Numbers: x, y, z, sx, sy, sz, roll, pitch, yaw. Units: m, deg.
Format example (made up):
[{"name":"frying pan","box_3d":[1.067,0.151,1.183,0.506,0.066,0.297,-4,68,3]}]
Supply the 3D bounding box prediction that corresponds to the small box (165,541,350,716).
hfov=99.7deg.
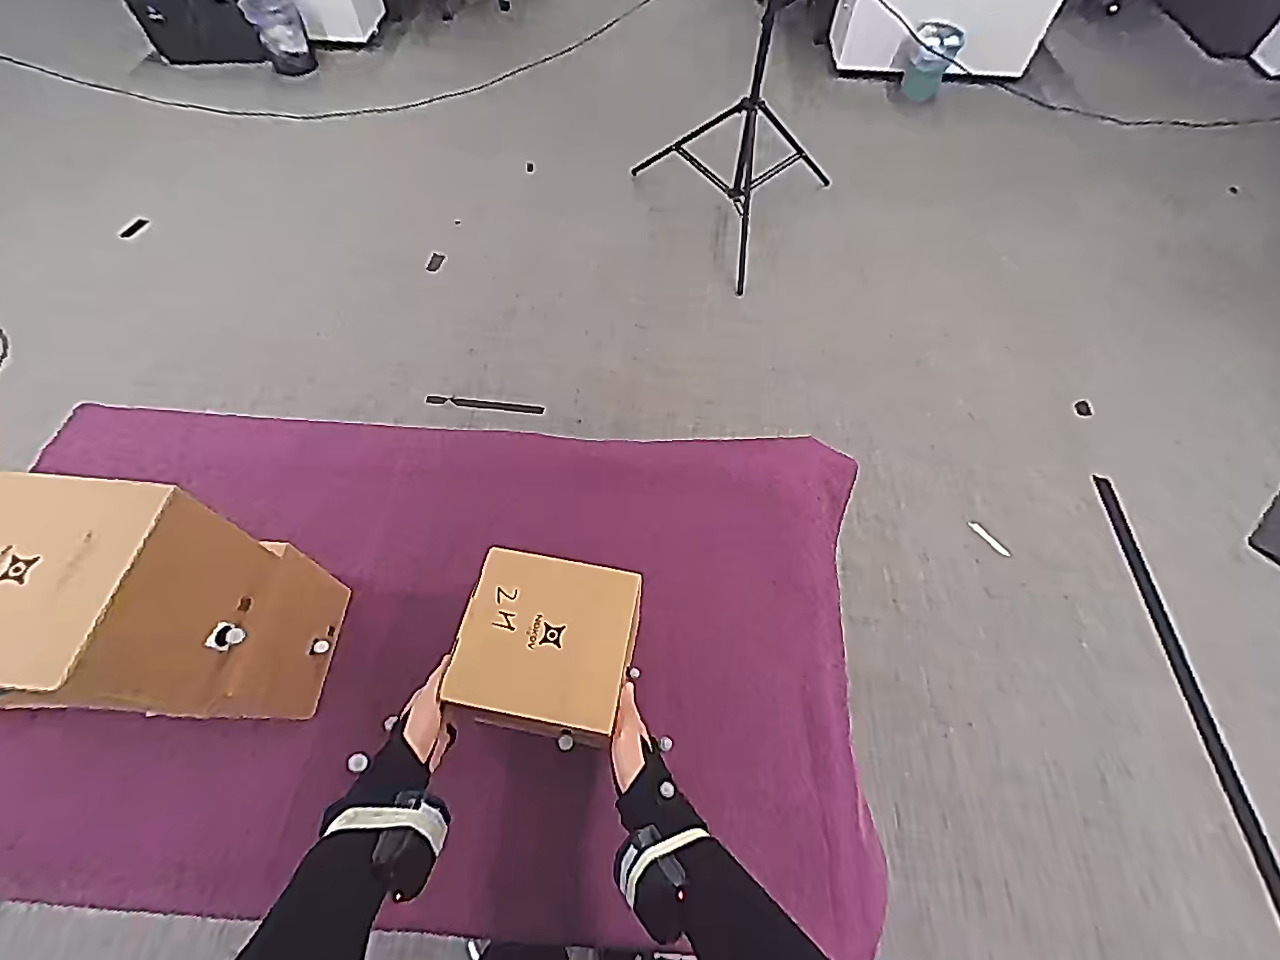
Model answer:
[{"name":"small box","box_3d":[-0.482,0.177,0.634,0.179,0.176,0.168,2,60,-1]}]

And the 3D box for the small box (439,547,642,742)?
[{"name":"small box","box_3d":[-0.099,0.198,0.630,0.179,0.176,0.168,10,59,5]}]

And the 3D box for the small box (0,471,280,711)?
[{"name":"small box","box_3d":[-0.480,0.108,0.488,0.179,0.176,0.168,5,61,0]}]
